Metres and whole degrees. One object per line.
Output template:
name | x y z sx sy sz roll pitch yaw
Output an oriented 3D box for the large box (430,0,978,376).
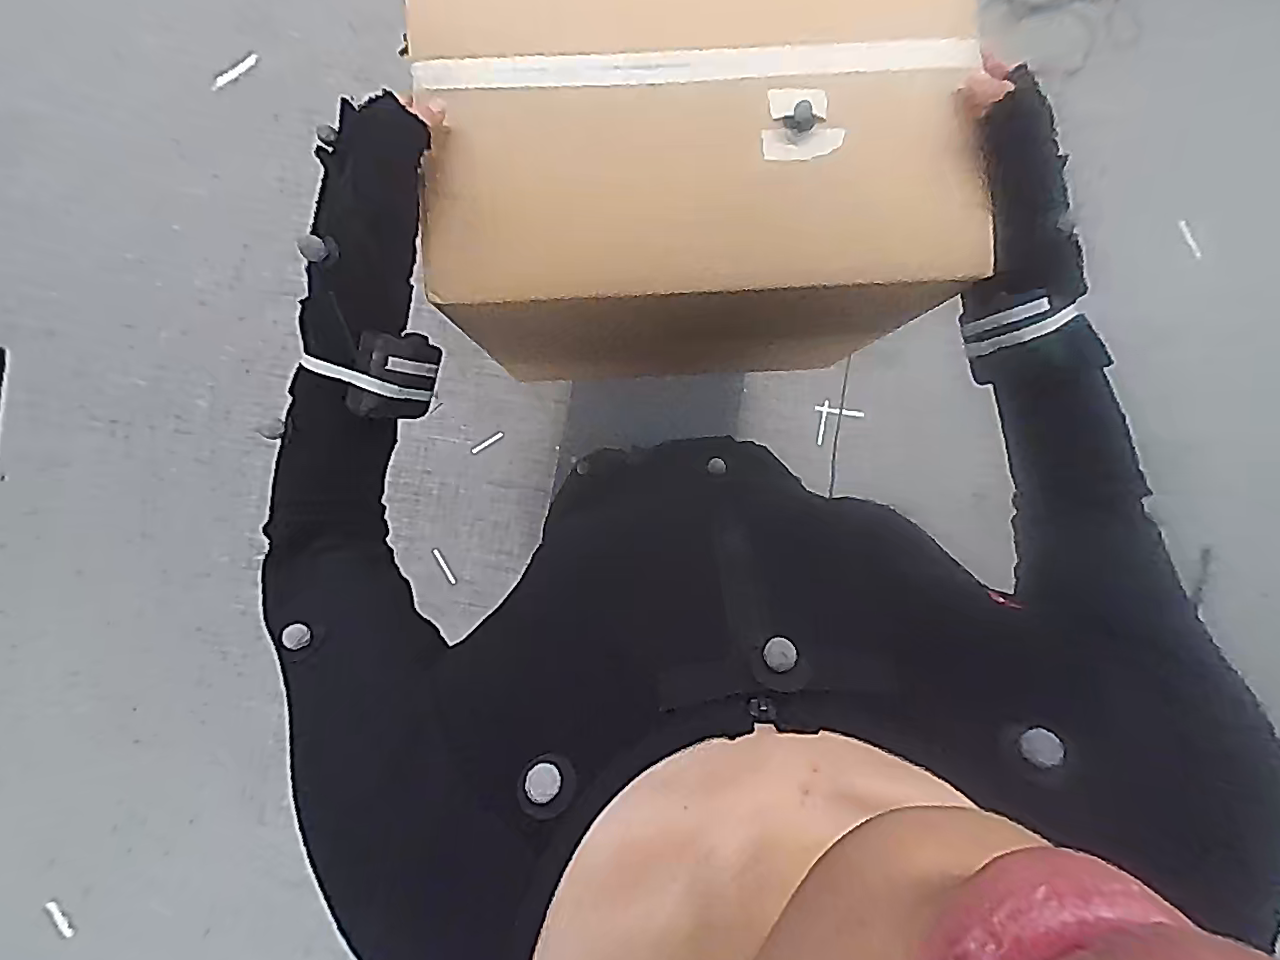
large box | 0.041 -0.297 0.548 0.408 0.320 0.320 -3 90 -2
